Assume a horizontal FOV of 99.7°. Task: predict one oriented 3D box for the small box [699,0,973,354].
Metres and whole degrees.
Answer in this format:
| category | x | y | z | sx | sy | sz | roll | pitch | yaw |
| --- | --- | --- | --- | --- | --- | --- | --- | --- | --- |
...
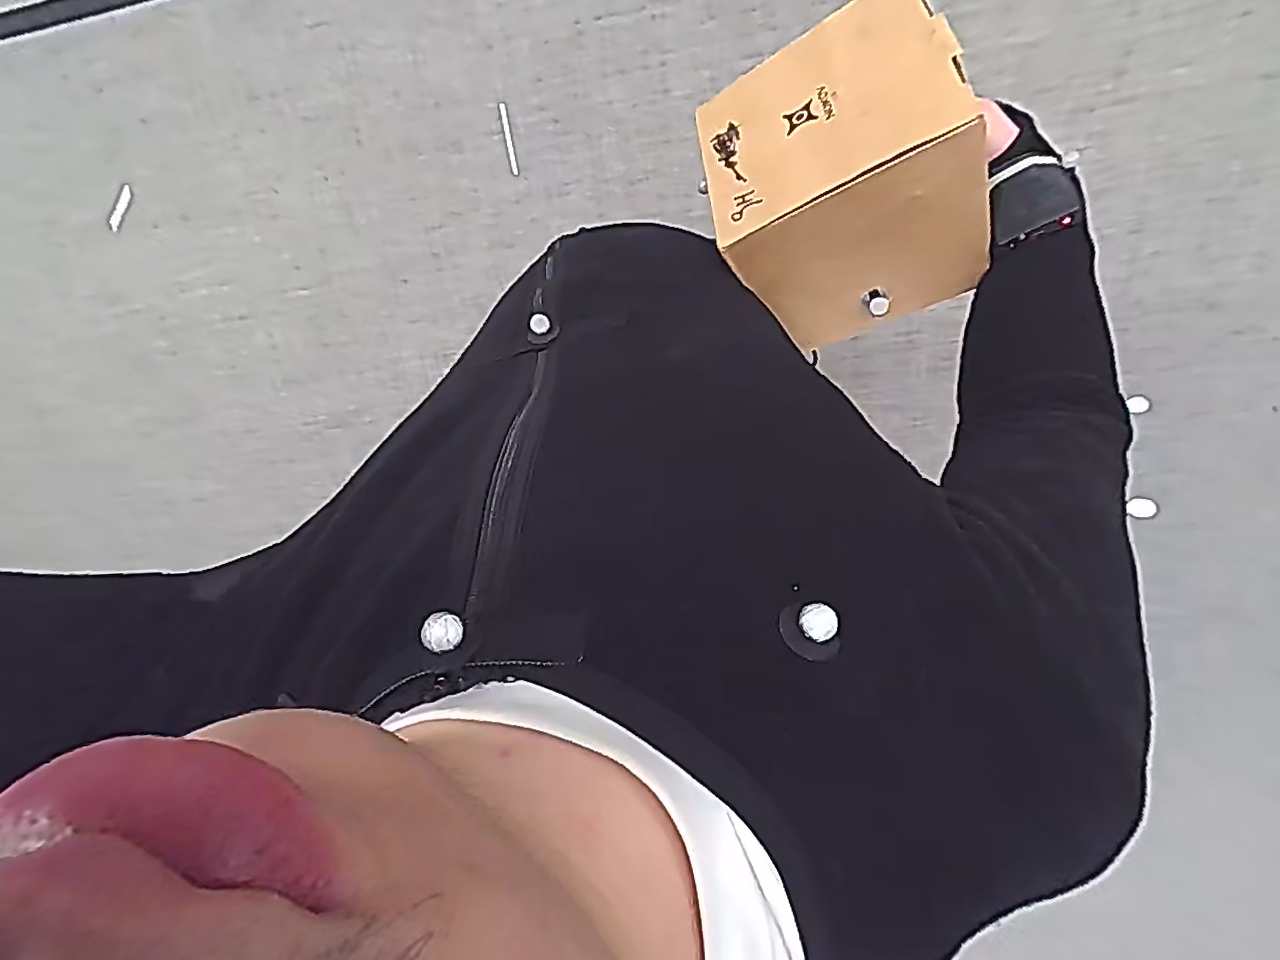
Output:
| category | x | y | z | sx | sy | sz | roll | pitch | yaw |
| --- | --- | --- | --- | --- | --- | --- | --- | --- | --- |
| small box | 0.173 | -0.244 | 0.477 | 0.179 | 0.168 | 0.176 | -18 | 152 | 27 |
